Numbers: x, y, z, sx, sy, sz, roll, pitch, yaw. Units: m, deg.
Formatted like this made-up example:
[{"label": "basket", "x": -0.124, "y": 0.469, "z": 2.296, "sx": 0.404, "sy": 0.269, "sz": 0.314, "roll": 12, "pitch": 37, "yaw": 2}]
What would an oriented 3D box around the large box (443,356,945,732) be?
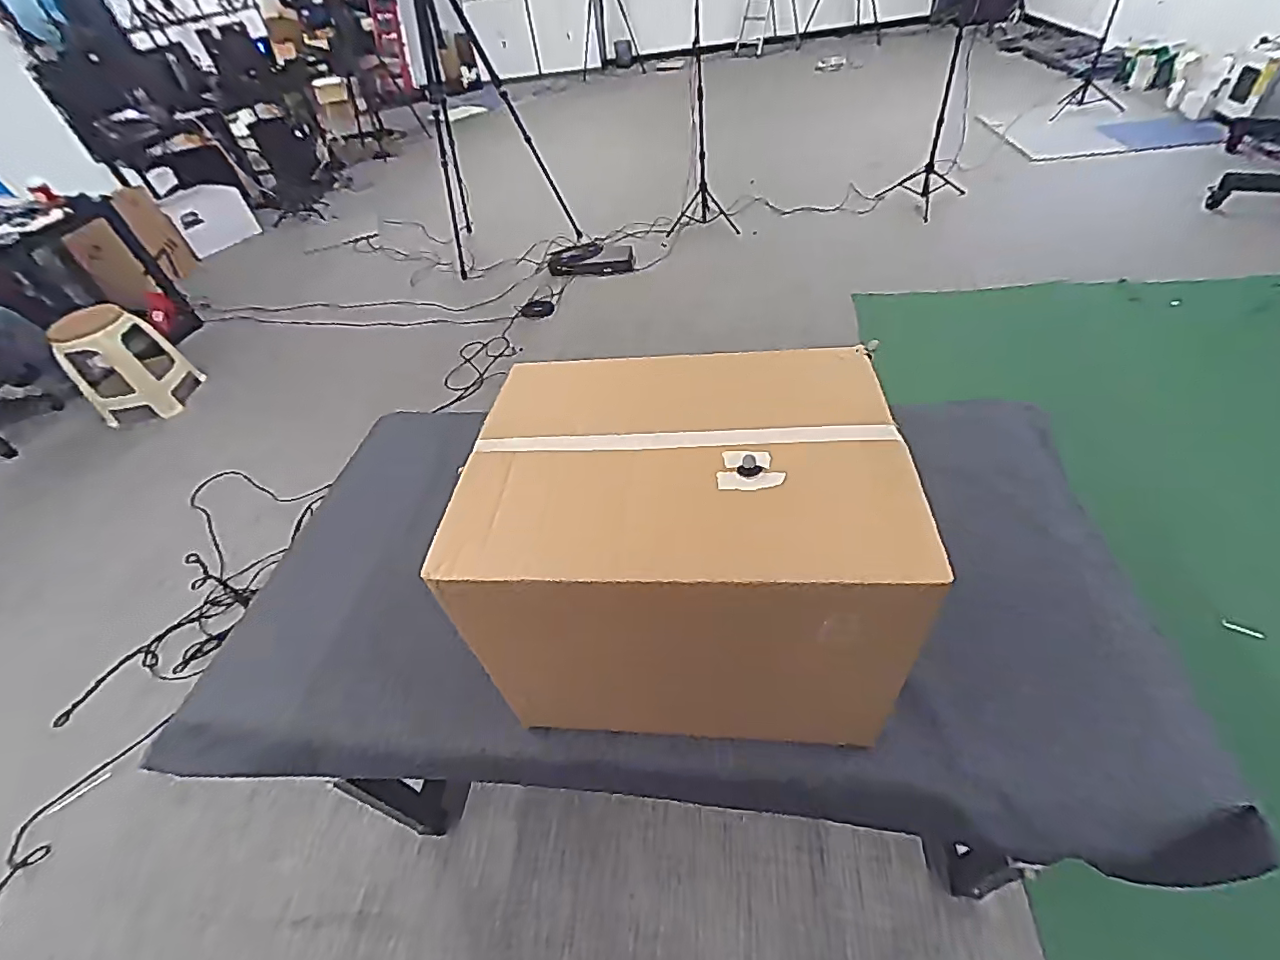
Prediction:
[{"label": "large box", "x": 0.055, "y": 0.076, "z": 0.630, "sx": 0.408, "sy": 0.320, "sz": 0.320, "roll": -1, "pitch": 45, "yaw": 7}]
